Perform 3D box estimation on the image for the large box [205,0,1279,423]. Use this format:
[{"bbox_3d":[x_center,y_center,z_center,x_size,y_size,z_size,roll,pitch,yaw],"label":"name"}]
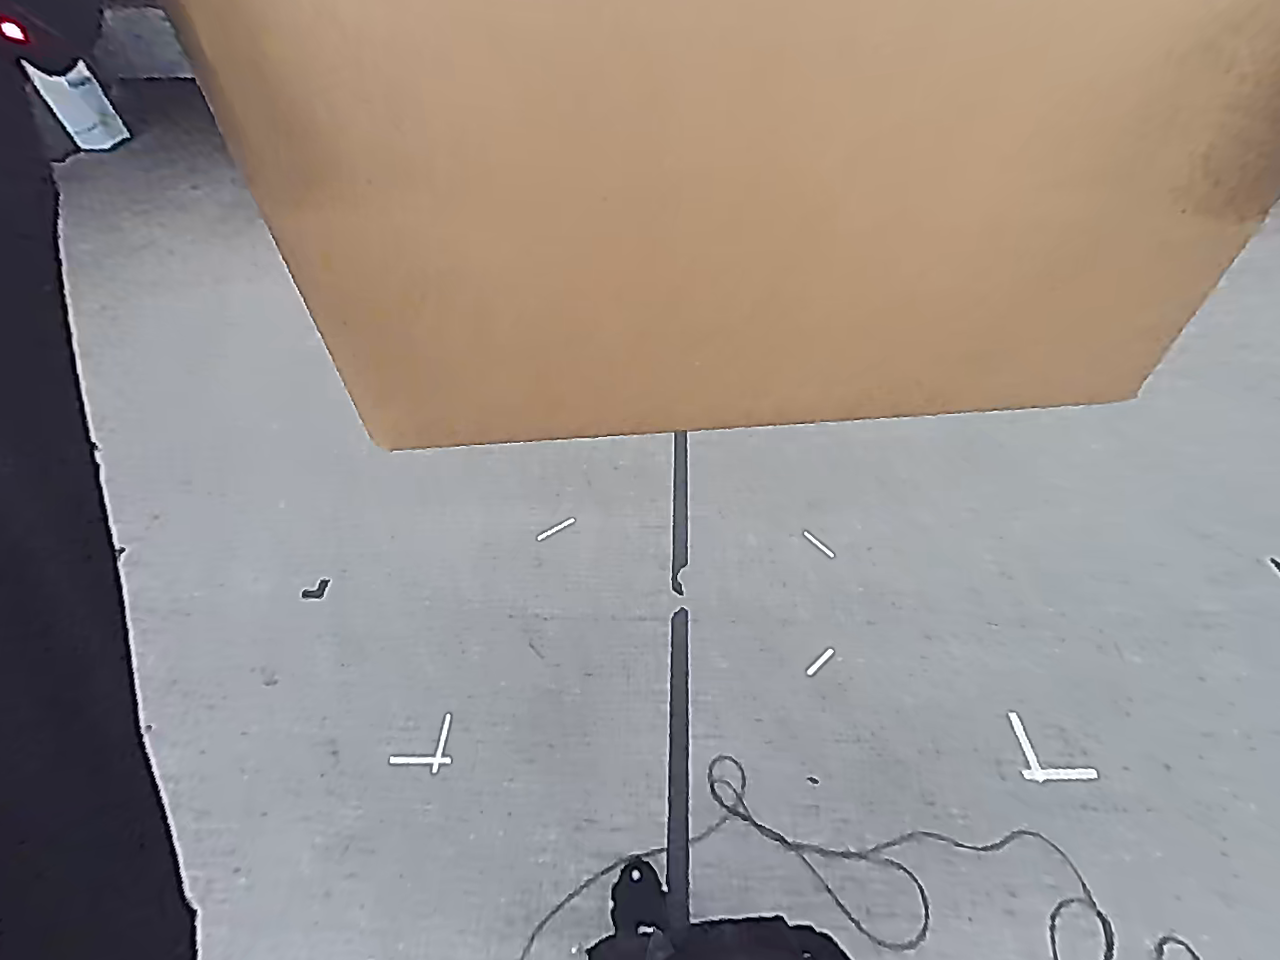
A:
[{"bbox_3d":[0.045,-0.251,0.298,0.408,0.320,0.320,-4,44,-3],"label":"large box"}]
